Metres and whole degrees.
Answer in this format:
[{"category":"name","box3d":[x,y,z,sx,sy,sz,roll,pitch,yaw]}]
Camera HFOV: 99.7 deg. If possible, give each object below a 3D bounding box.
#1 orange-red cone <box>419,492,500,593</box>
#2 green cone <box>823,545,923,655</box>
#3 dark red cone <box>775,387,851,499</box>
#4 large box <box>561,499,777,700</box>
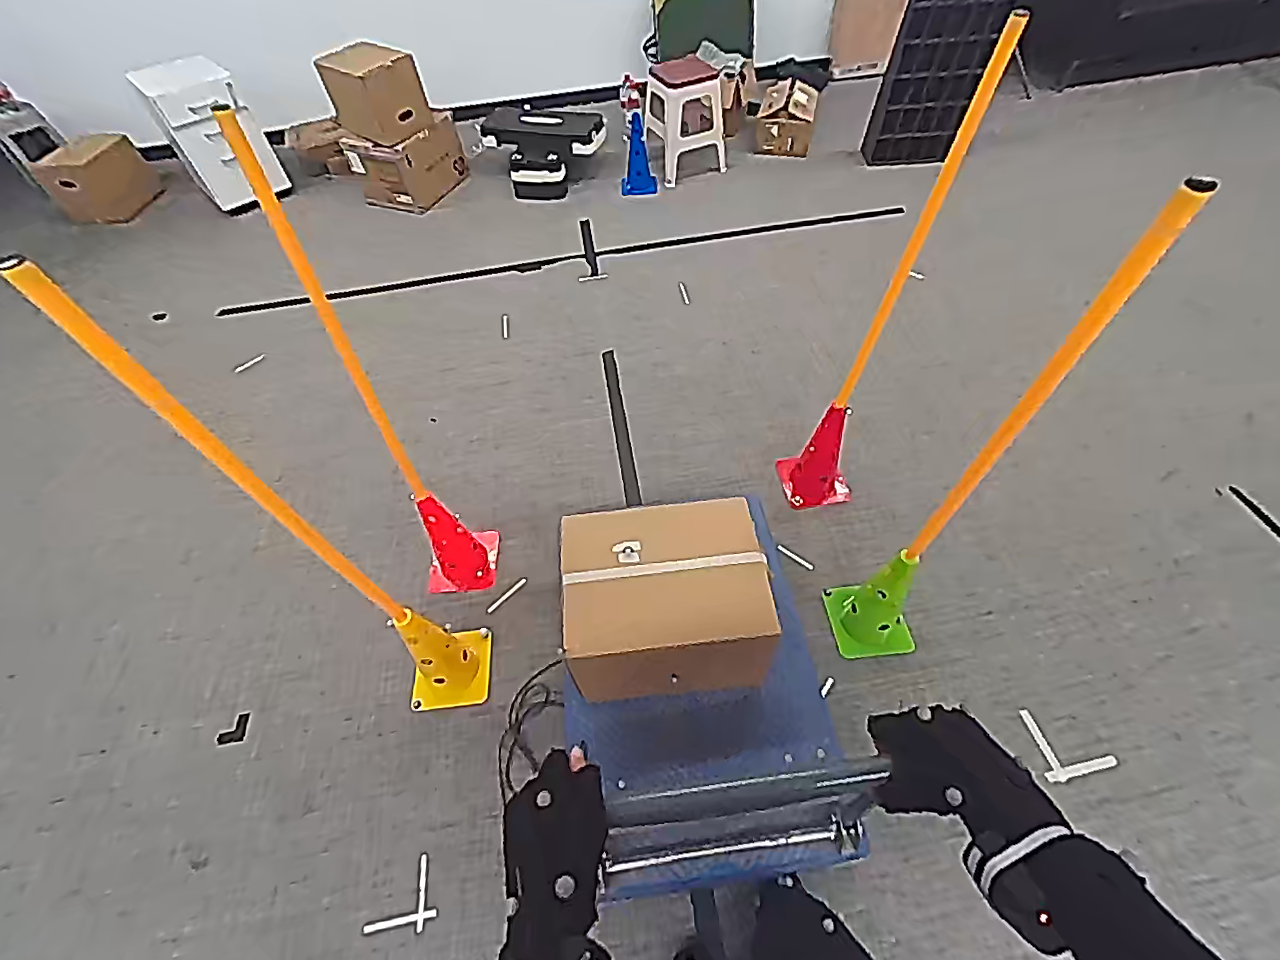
[{"category":"orange-red cone","box3d":[-0.544,0.151,1.529,0.198,0.360,0.199,-3,52,1]},{"category":"green cone","box3d":[0.614,0.272,1.345,0.202,0.368,0.200,-6,53,-2]},{"category":"dark red cone","box3d":[0.553,-0.122,1.621,0.201,0.394,0.202,-9,54,-4]},{"category":"large box","box3d":[0.054,0.275,1.206,0.408,0.320,0.320,-7,53,0]}]
